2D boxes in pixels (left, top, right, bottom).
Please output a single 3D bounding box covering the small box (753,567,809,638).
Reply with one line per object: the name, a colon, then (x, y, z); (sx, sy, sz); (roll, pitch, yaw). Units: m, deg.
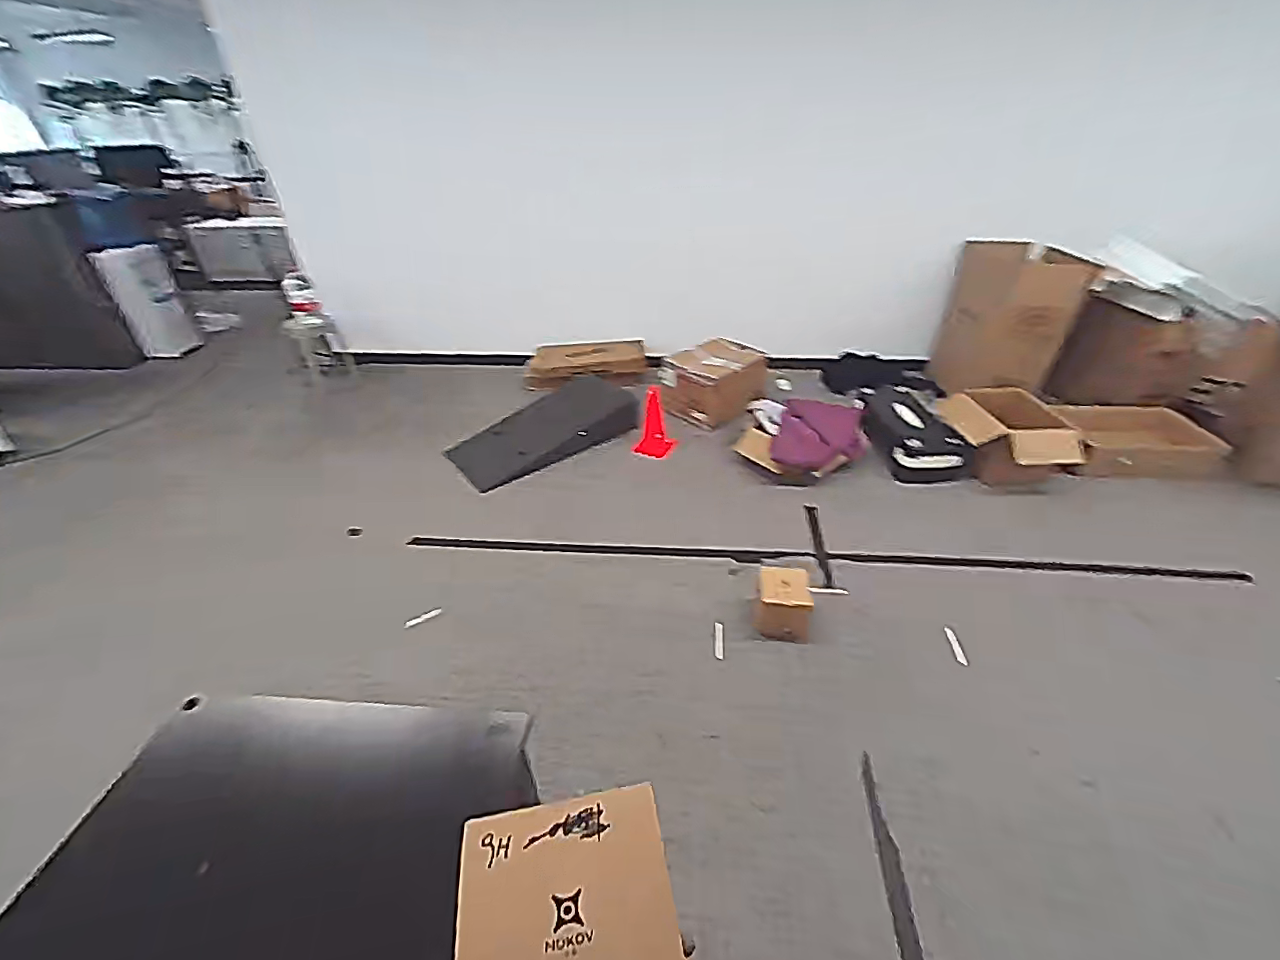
small box: (0.493, 0.432, 1.915); (0.168, 0.176, 0.179); (2, 35, 6)
